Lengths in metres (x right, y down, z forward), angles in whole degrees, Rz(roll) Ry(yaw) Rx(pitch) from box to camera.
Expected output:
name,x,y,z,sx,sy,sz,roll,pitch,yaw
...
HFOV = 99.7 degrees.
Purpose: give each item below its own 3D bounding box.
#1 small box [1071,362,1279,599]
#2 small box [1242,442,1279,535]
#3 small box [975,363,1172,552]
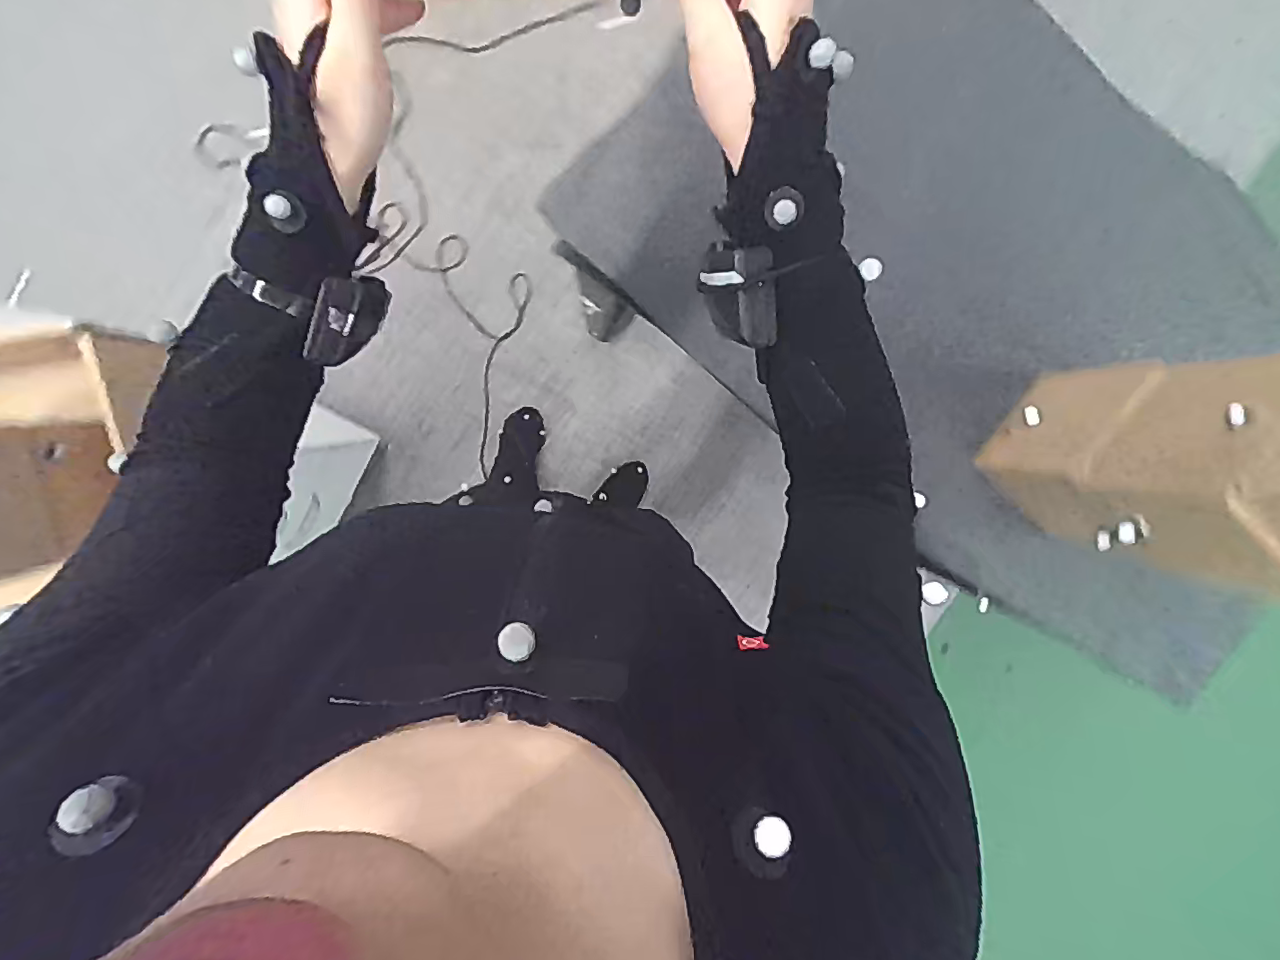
name,x,y,z,sx,sy,sz,roll,pitch,yaw
small box,0.610,-0.008,0.553,0.168,0.176,0.179,41,94,-6
small box,0.625,0.011,0.391,0.179,0.176,0.168,43,92,-6
small box,0.603,-0.032,0.713,0.179,0.176,0.168,39,92,-8
